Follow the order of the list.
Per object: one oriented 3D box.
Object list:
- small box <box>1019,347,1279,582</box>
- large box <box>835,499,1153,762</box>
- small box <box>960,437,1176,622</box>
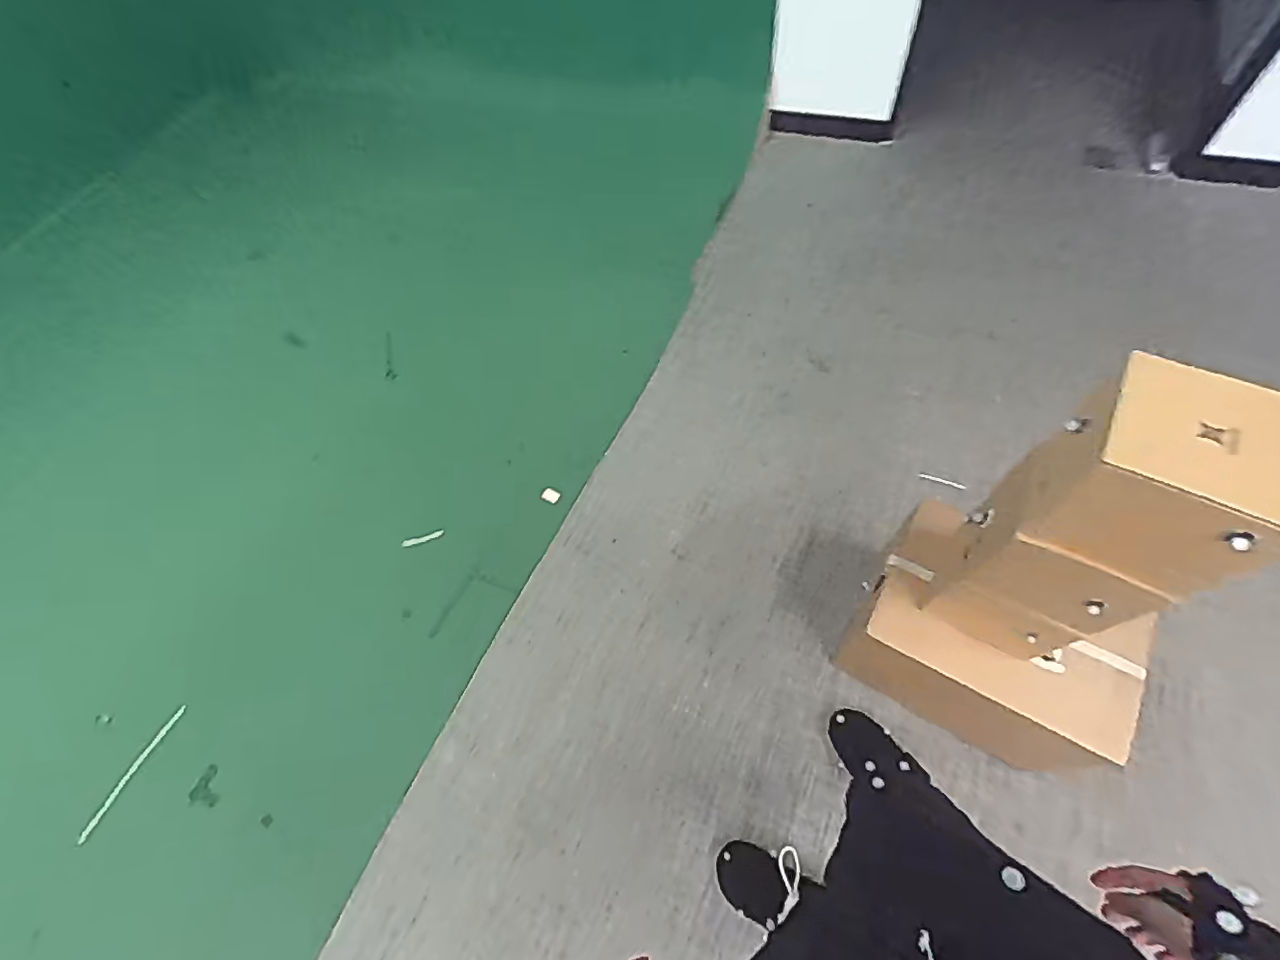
[{"bbox_3d":[0.566,-0.010,0.601,0.179,0.176,0.168,26,66,19],"label":"small box"},{"bbox_3d":[0.659,0.300,1.071,0.408,0.320,0.320,25,68,19],"label":"large box"},{"bbox_3d":[0.577,0.076,0.738,0.179,0.176,0.168,22,65,19],"label":"small box"}]
